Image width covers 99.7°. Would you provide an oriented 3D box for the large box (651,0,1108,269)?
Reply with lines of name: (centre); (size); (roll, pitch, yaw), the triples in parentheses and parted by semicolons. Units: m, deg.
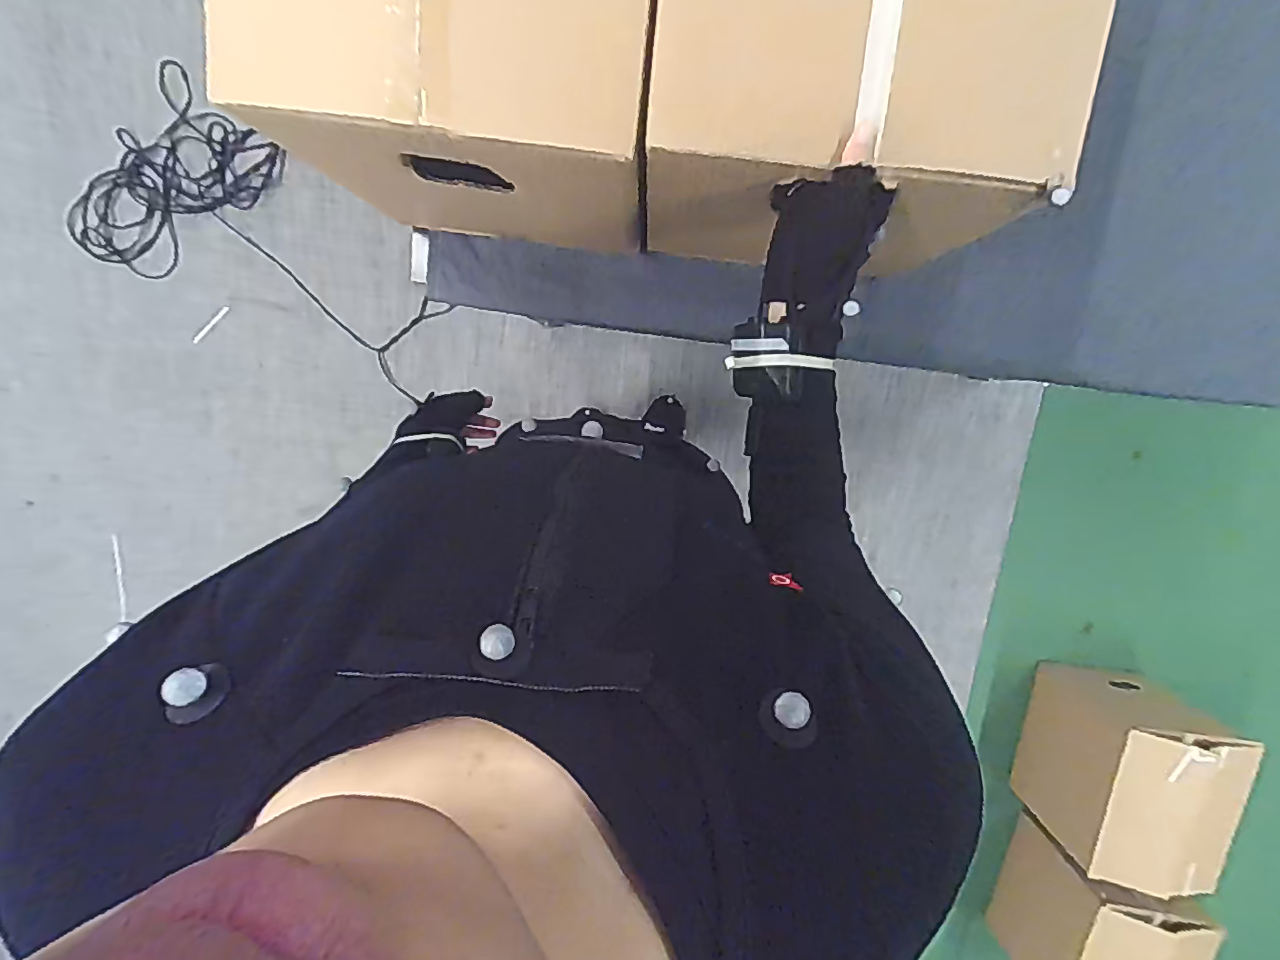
large box: (0.180, -0.447, 0.504); (0.320, 0.320, 0.408); (6, 101, 1)
